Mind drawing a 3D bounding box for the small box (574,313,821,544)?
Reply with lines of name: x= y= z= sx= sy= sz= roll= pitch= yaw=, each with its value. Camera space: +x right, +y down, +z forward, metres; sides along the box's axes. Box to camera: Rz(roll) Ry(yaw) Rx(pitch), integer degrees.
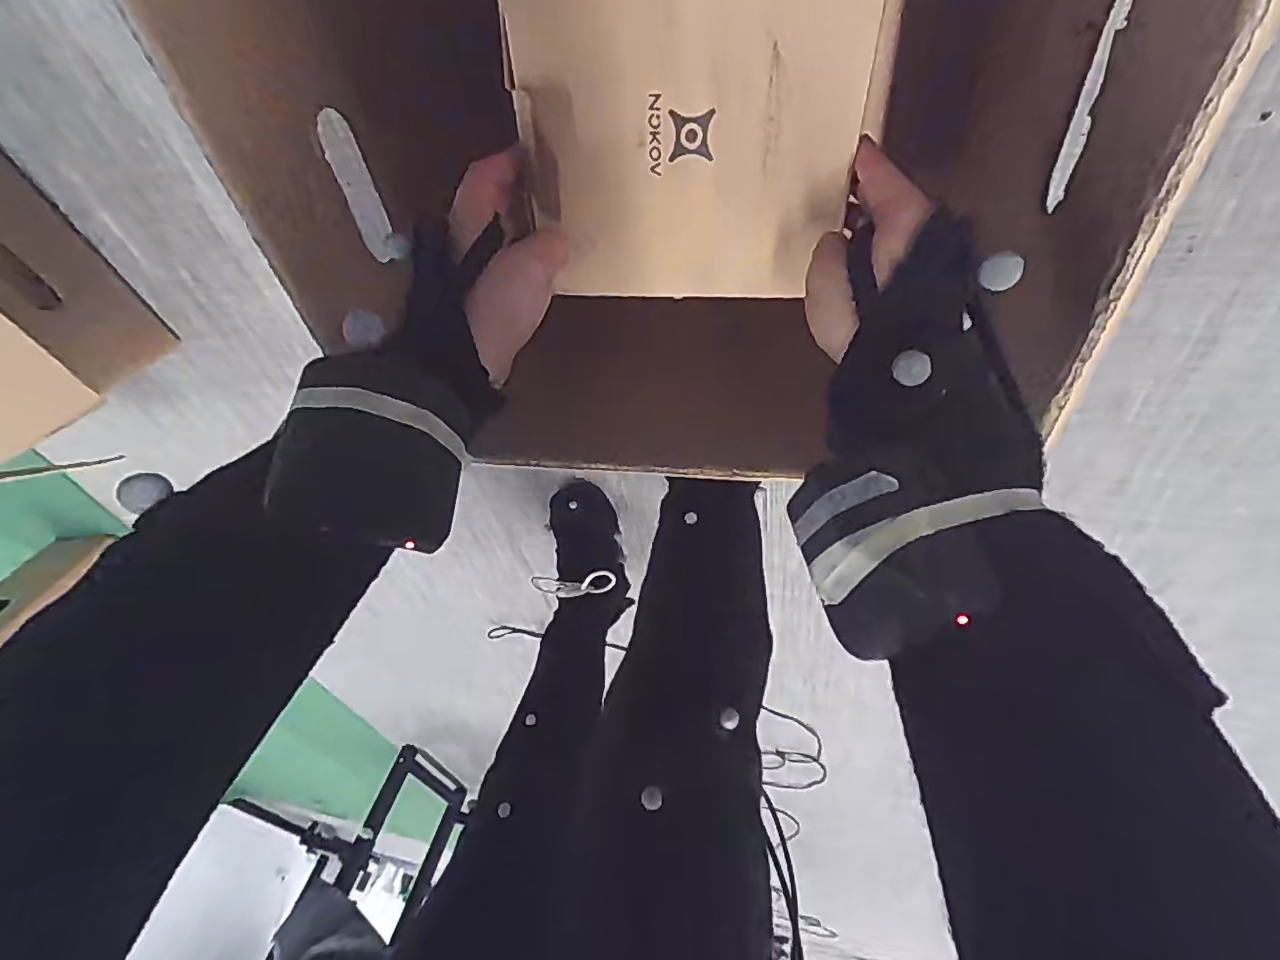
small box: x=0.058 y=-0.038 z=0.579 sx=0.179 sy=0.168 sz=0.176 roll=28 pitch=158 yaw=-23
